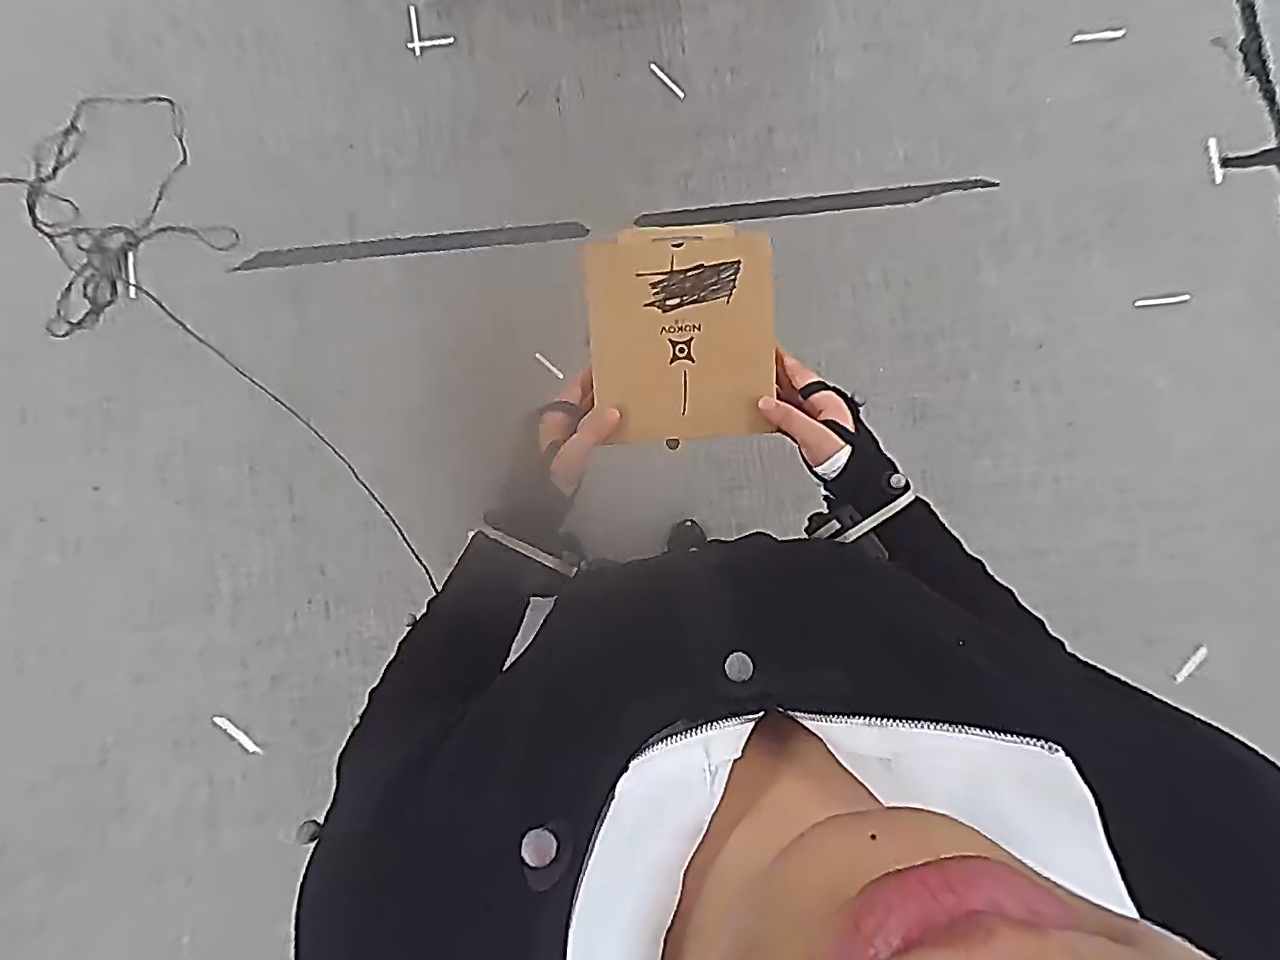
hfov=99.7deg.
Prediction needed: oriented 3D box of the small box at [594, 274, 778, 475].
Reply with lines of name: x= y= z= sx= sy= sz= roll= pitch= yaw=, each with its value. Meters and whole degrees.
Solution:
small box: x=0.041 y=-0.104 z=0.573 sx=0.168 sy=0.176 sz=0.179 roll=-4 pitch=97 yaw=0
